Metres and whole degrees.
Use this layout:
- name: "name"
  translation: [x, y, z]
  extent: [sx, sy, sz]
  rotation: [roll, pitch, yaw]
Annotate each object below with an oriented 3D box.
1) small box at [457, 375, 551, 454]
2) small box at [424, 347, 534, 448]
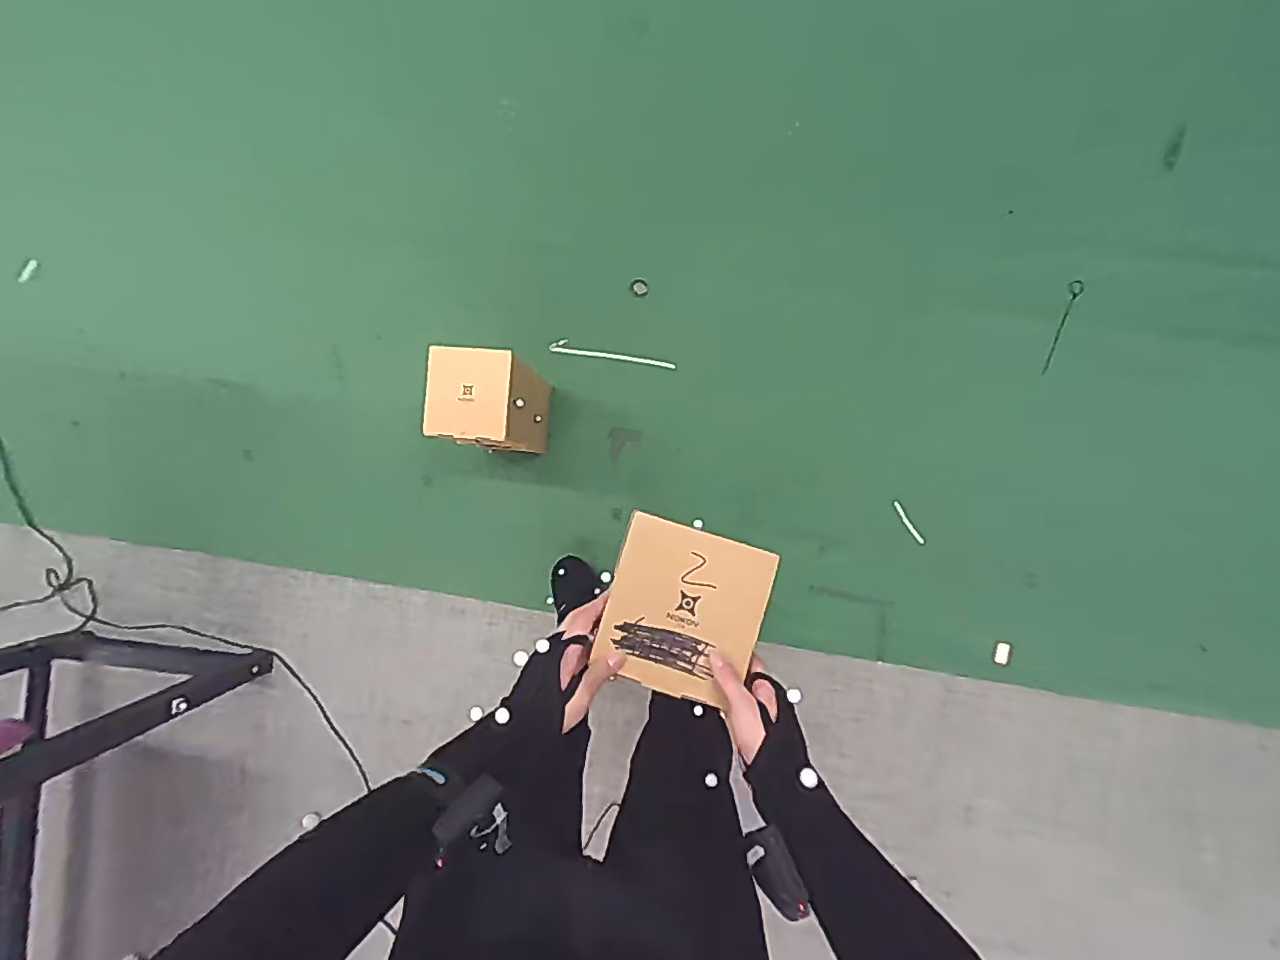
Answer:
- name: "small box"
  translation: [-0.315, -0.156, 1.280]
  extent: [0.168, 0.176, 0.179]
  rotation: [6, 90, 4]
- name: "small box"
  translation: [-0.323, -0.163, 1.118]
  extent: [0.168, 0.176, 0.179]
  rotation: [5, 91, 4]
